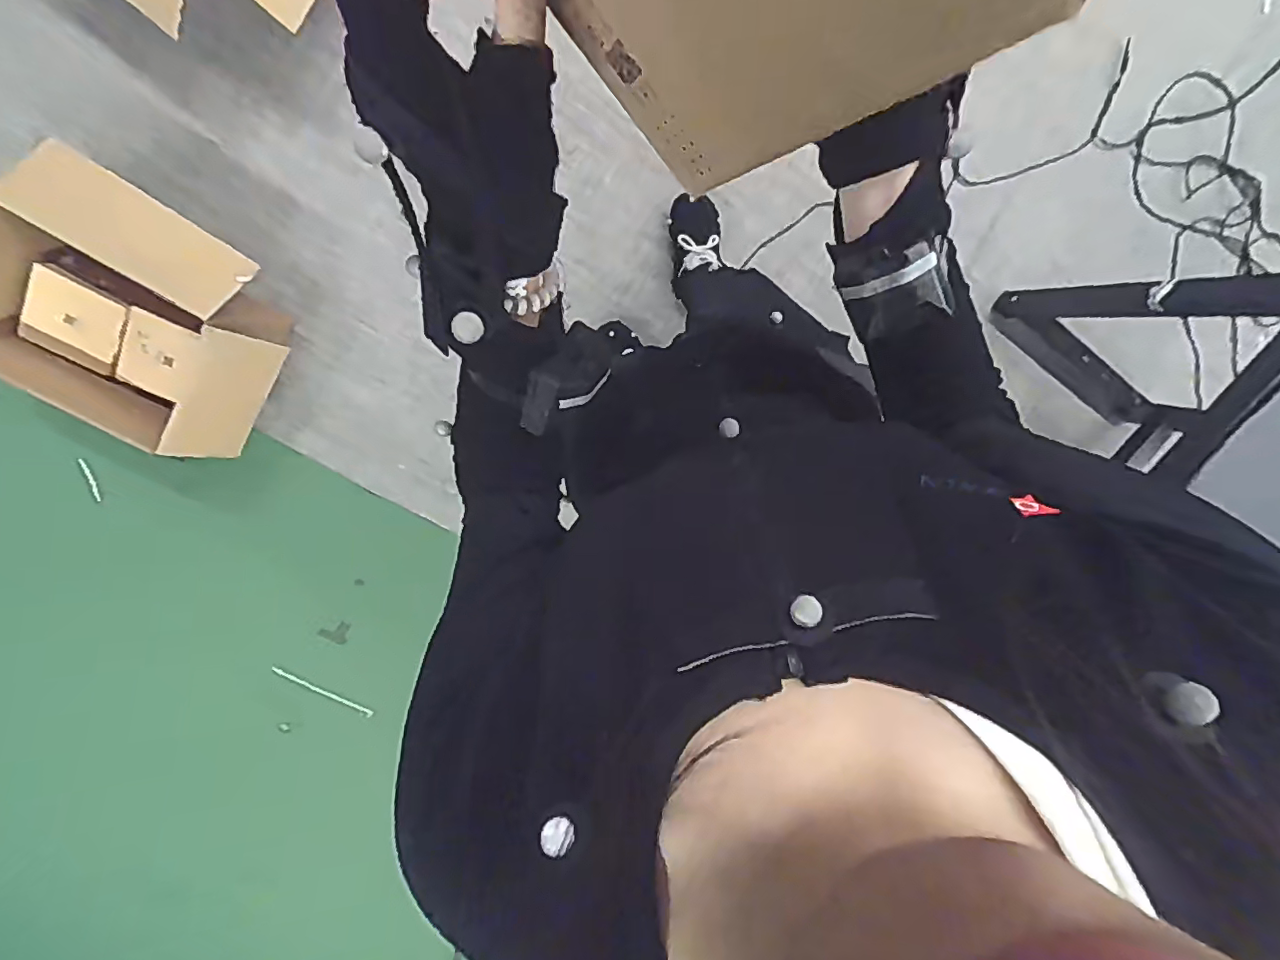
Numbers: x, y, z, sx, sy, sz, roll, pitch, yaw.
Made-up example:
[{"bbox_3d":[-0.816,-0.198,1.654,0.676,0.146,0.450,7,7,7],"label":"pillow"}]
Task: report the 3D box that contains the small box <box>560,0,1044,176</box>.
[{"bbox_3d":[0.055,-0.237,0.168,0.168,0.176,0.179,40,82,-29],"label":"small box"}]
